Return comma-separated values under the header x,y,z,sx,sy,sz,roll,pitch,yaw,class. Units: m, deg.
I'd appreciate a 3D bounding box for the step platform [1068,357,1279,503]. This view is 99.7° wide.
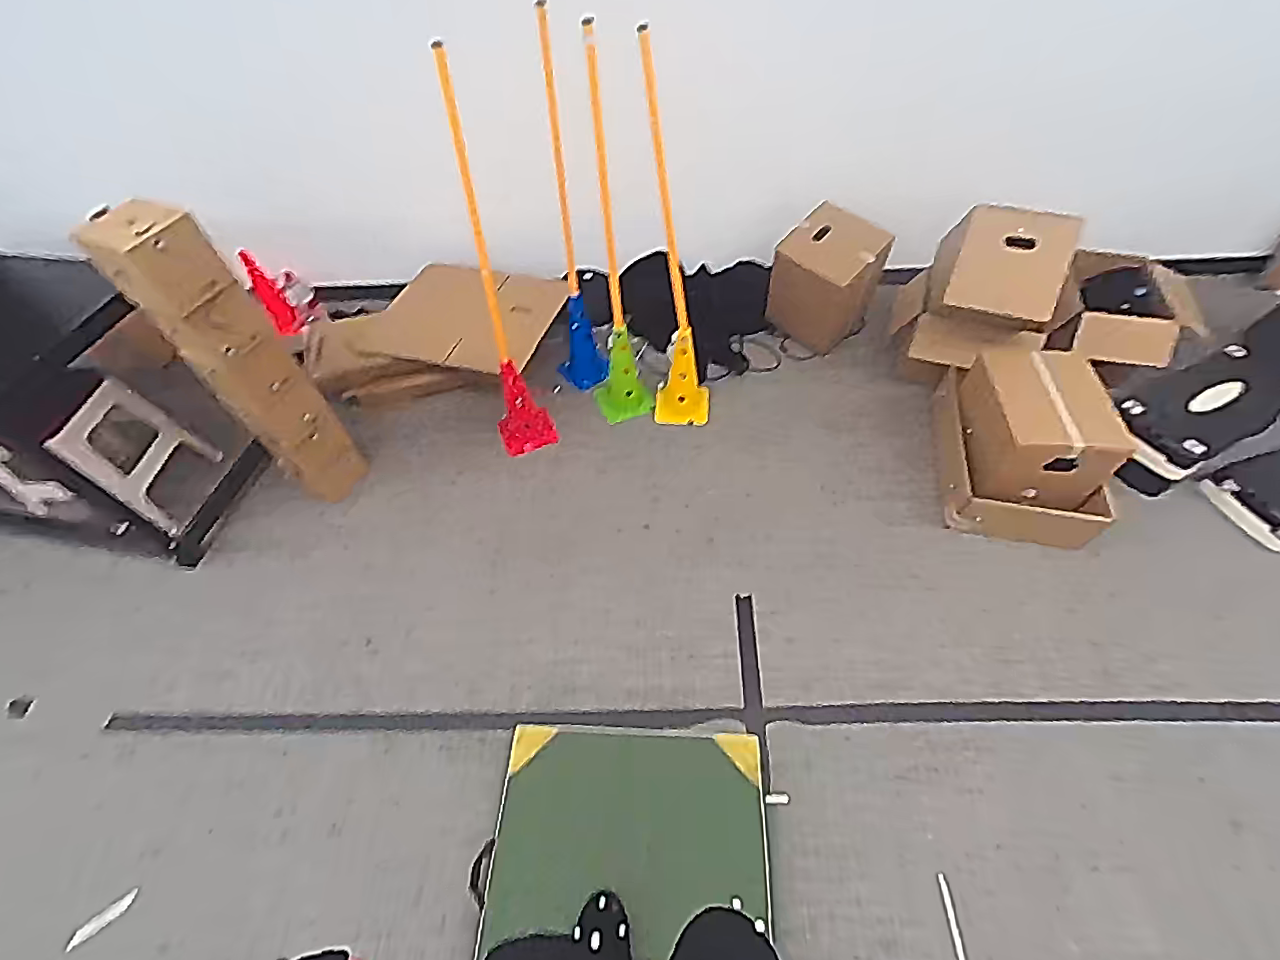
x,y,z,sx,sy,sz,roll,pitch,yaw,class
1.871,-0.187,1.880,0.684,0.204,0.286,-24,56,-15,step platform
